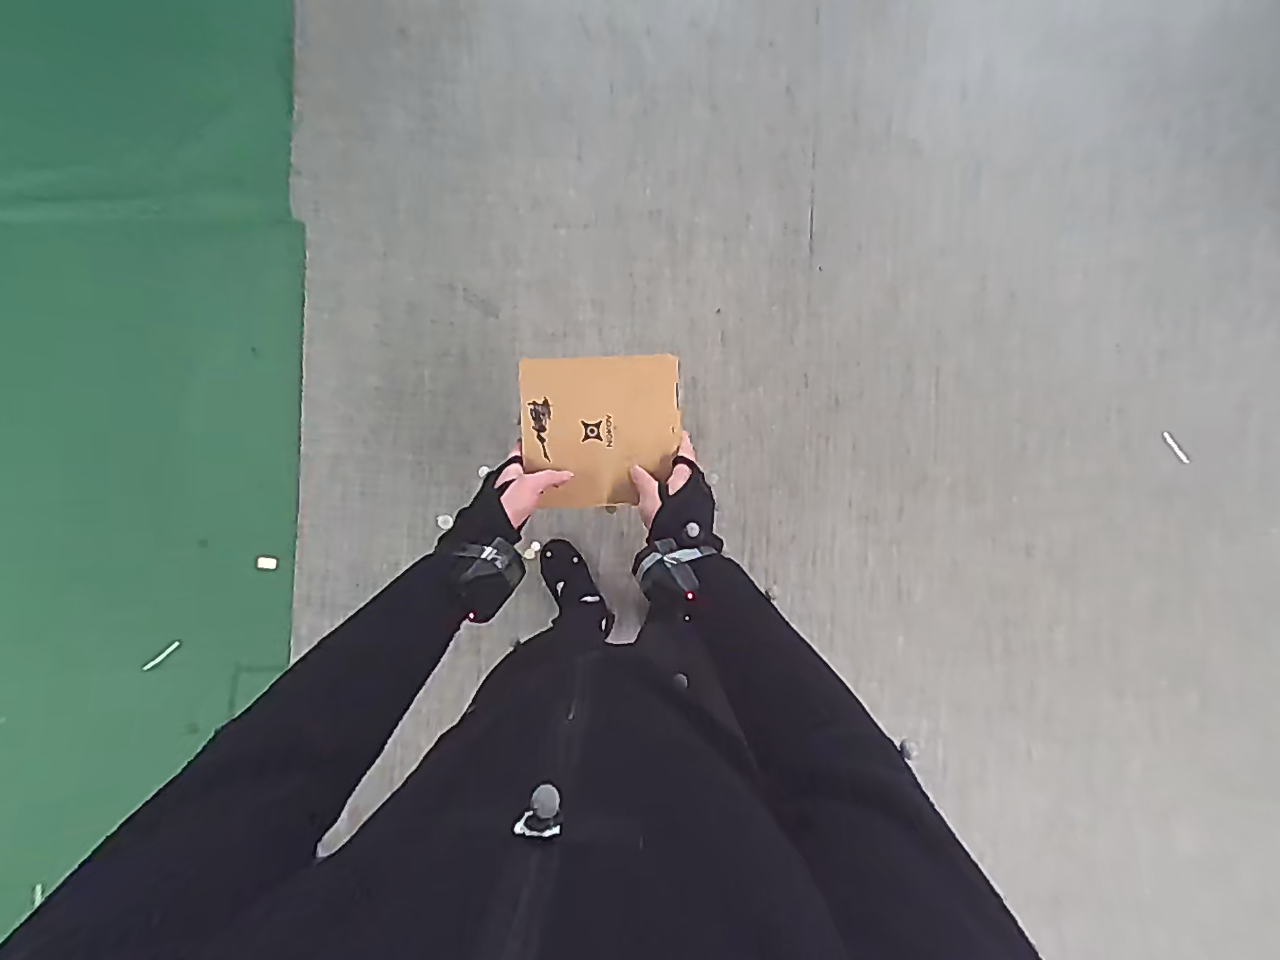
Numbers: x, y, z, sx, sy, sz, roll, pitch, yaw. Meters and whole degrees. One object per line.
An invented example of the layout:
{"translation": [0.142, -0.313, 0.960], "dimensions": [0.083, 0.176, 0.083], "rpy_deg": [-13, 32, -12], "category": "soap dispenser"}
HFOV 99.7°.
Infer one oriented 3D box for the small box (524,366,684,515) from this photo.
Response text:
{"translation": [-0.040, -0.046, 0.673], "dimensions": [0.179, 0.176, 0.168], "rpy_deg": [-1, 92, 0], "category": "small box"}
